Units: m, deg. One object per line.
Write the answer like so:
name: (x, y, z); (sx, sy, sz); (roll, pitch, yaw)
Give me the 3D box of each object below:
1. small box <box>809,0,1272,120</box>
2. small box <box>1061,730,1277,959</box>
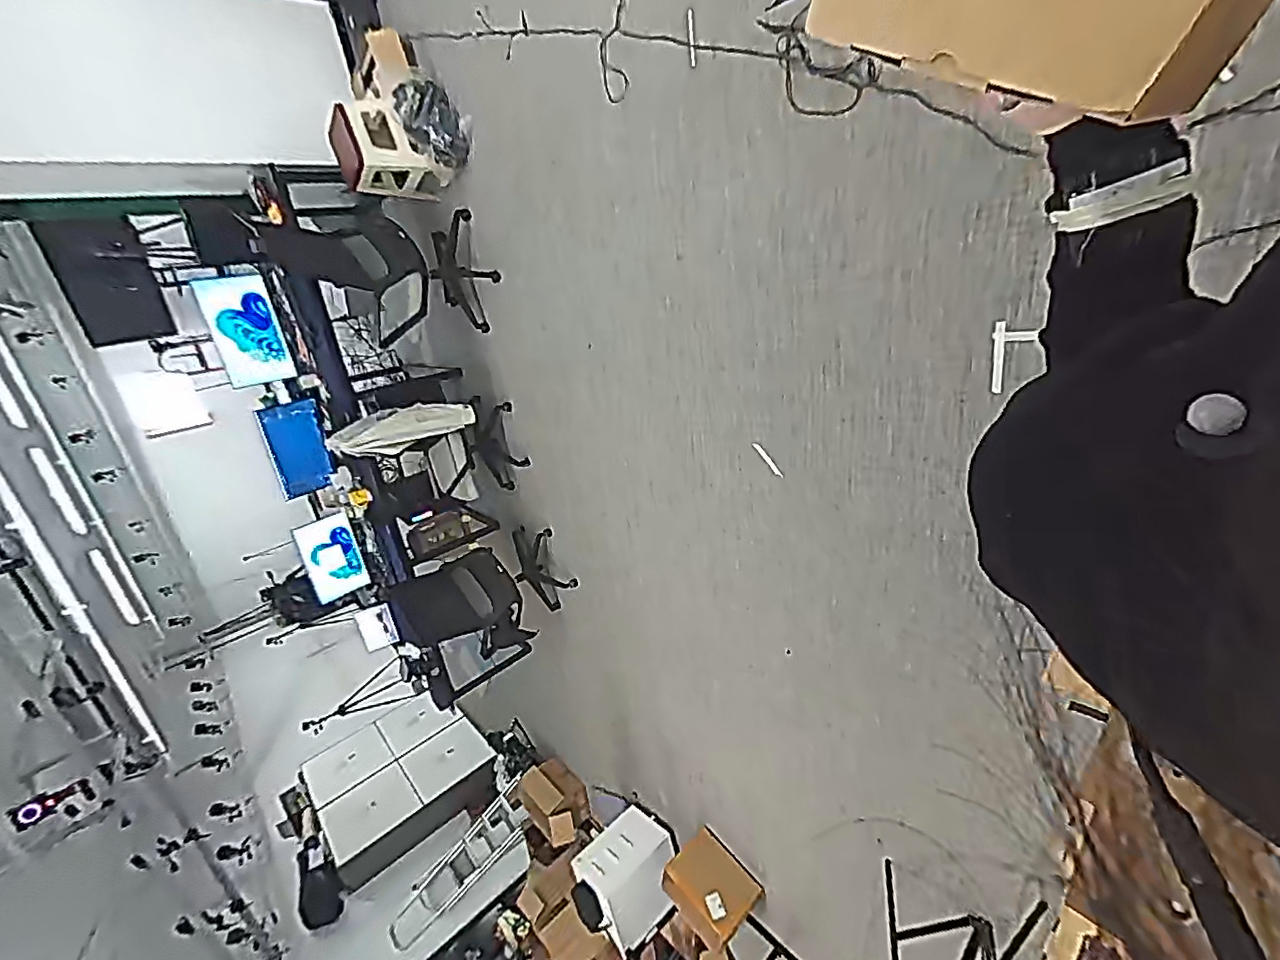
small box: (0.214, -0.286, 0.238); (0.168, 0.176, 0.179); (42, 143, 27)
small box: (0.721, 0.482, 0.744); (0.179, 0.176, 0.168); (15, 122, 48)
